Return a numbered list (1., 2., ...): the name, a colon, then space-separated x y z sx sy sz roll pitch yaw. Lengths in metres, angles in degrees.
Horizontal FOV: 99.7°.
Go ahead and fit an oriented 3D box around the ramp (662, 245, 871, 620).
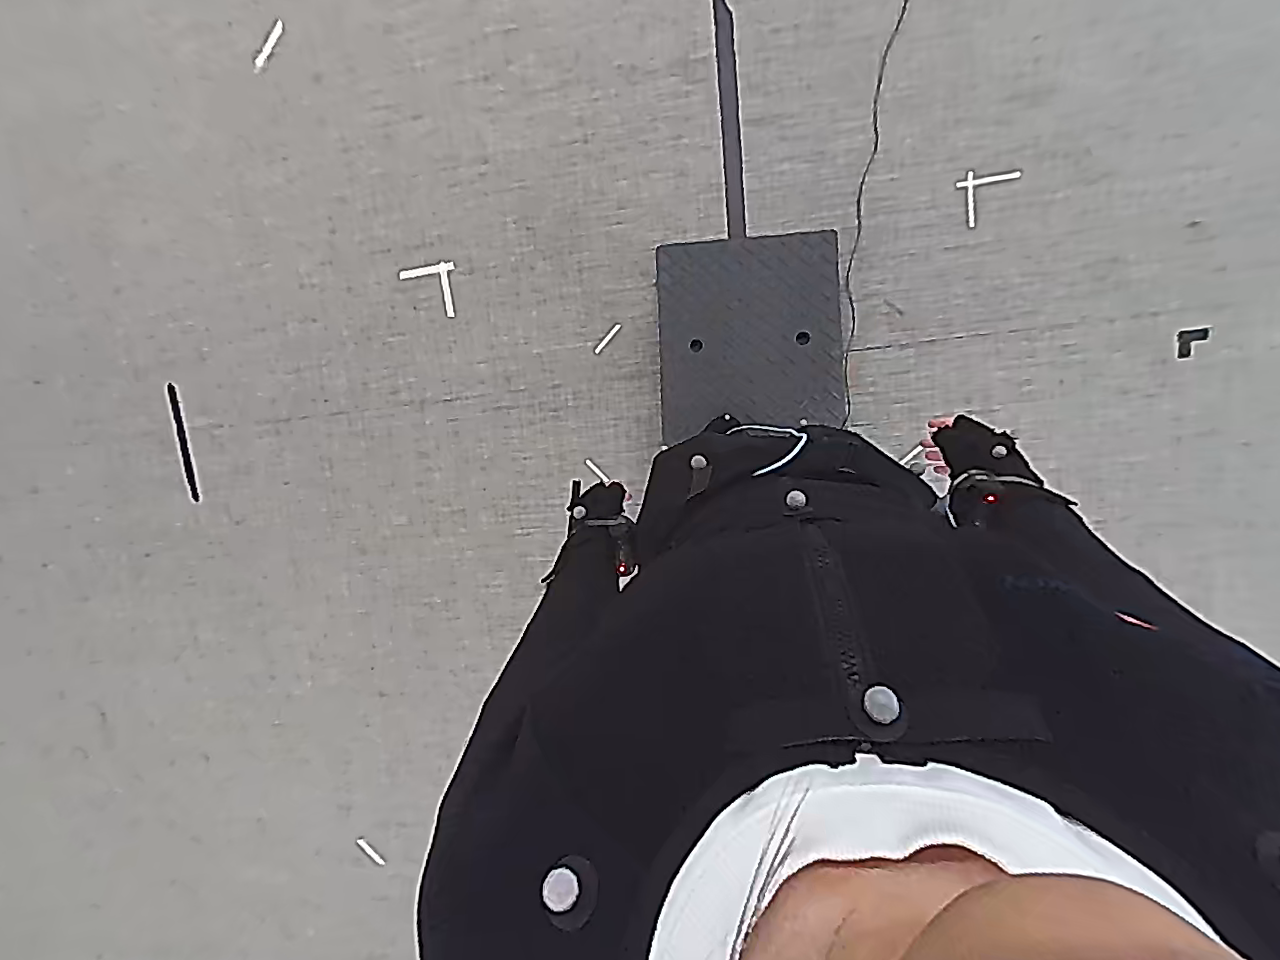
1. ramp: 0.325 -0.131 1.471 0.509 0.206 0.991 -5 94 9
